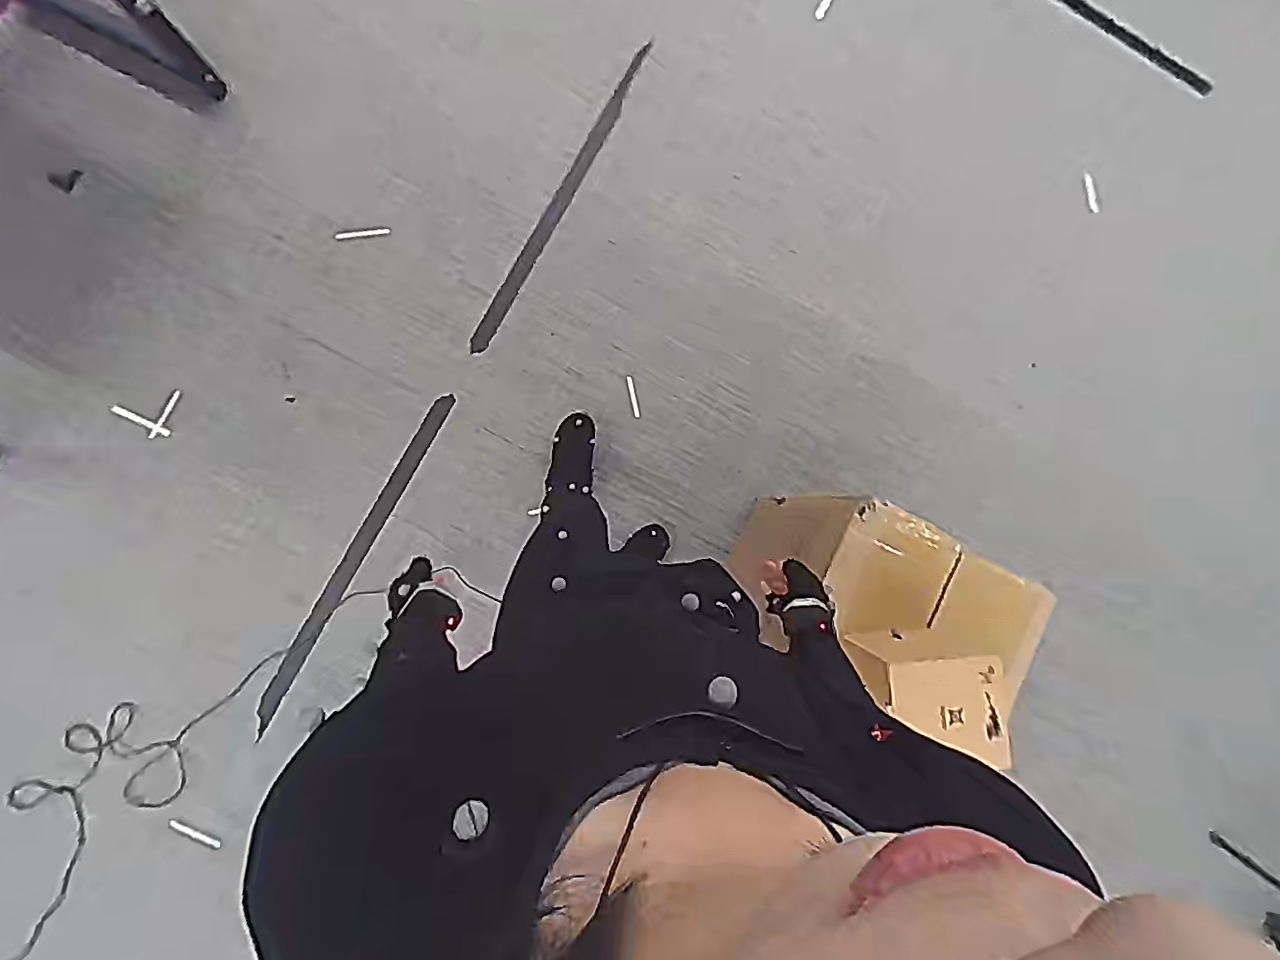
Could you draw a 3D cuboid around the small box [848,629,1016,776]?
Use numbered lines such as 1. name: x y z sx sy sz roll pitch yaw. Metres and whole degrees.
1. small box: 0.442 0.337 0.849 0.179 0.176 0.168 -3 88 -3
